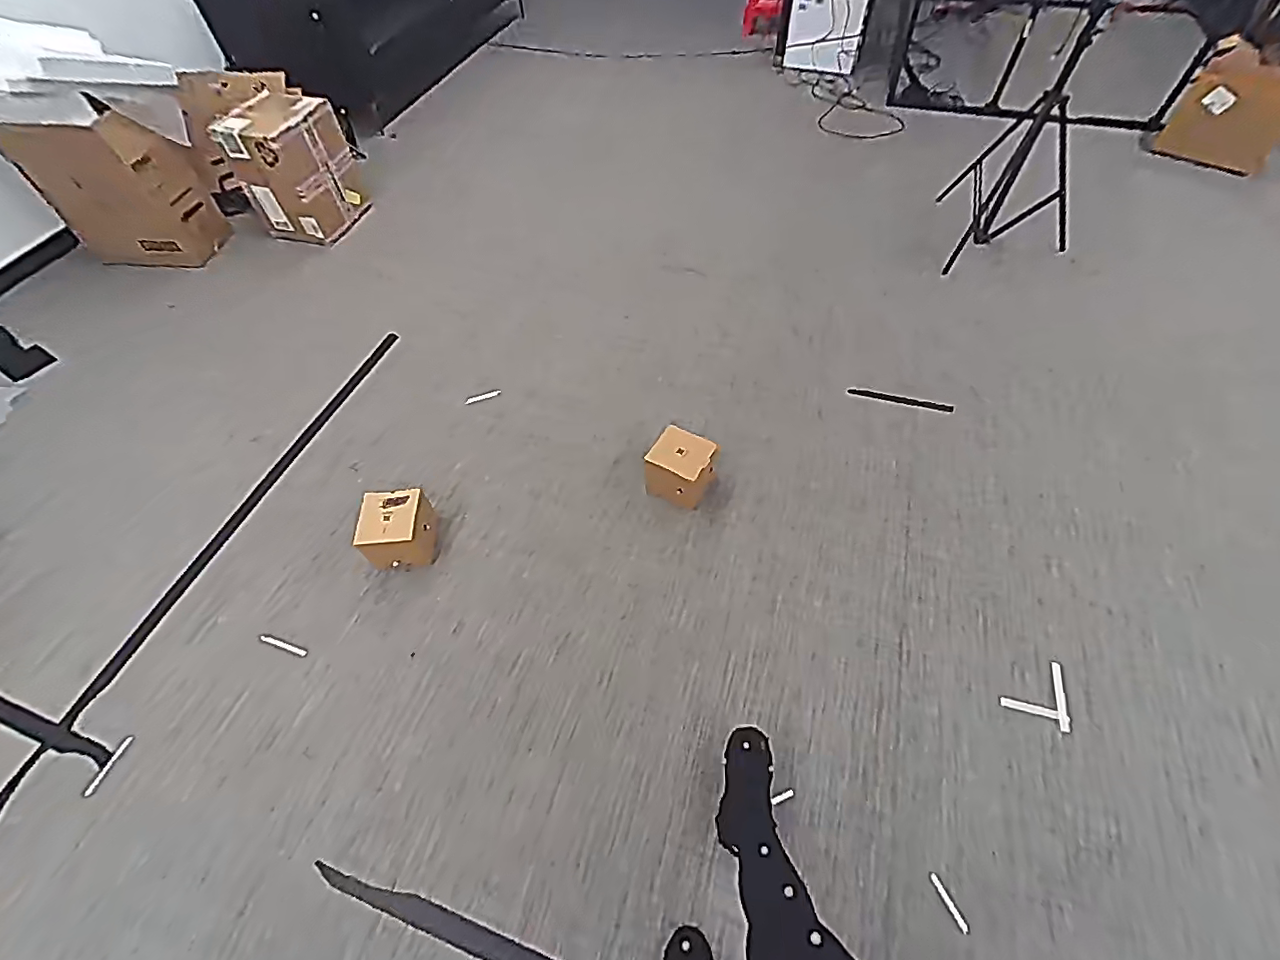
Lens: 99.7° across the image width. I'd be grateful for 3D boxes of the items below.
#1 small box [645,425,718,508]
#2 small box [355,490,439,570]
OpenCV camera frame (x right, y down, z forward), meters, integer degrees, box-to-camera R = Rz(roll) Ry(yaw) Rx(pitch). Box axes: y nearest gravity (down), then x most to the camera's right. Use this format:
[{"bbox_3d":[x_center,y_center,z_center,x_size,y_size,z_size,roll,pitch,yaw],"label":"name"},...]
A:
[{"bbox_3d":[0.131,-0.037,1.717,0.179,0.176,0.168,25,58,19],"label":"small box"},{"bbox_3d":[-0.716,0.151,1.616,0.168,0.176,0.179,-5,56,-1],"label":"small box"}]
